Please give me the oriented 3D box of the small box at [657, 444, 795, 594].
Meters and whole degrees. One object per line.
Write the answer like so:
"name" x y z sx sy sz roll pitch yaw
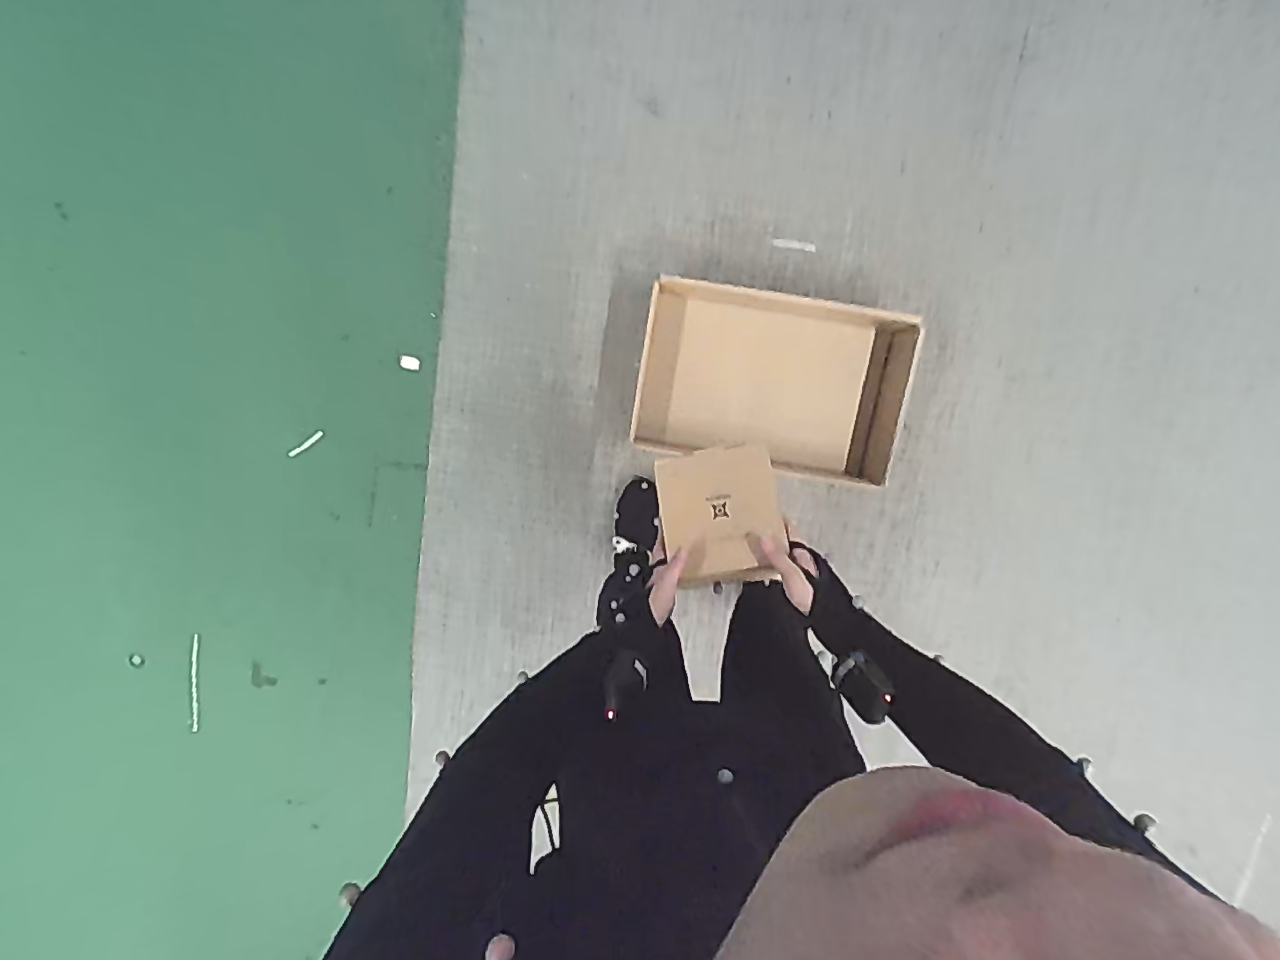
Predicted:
"small box" 0.122 0.066 0.814 0.168 0.176 0.179 -10 72 5
